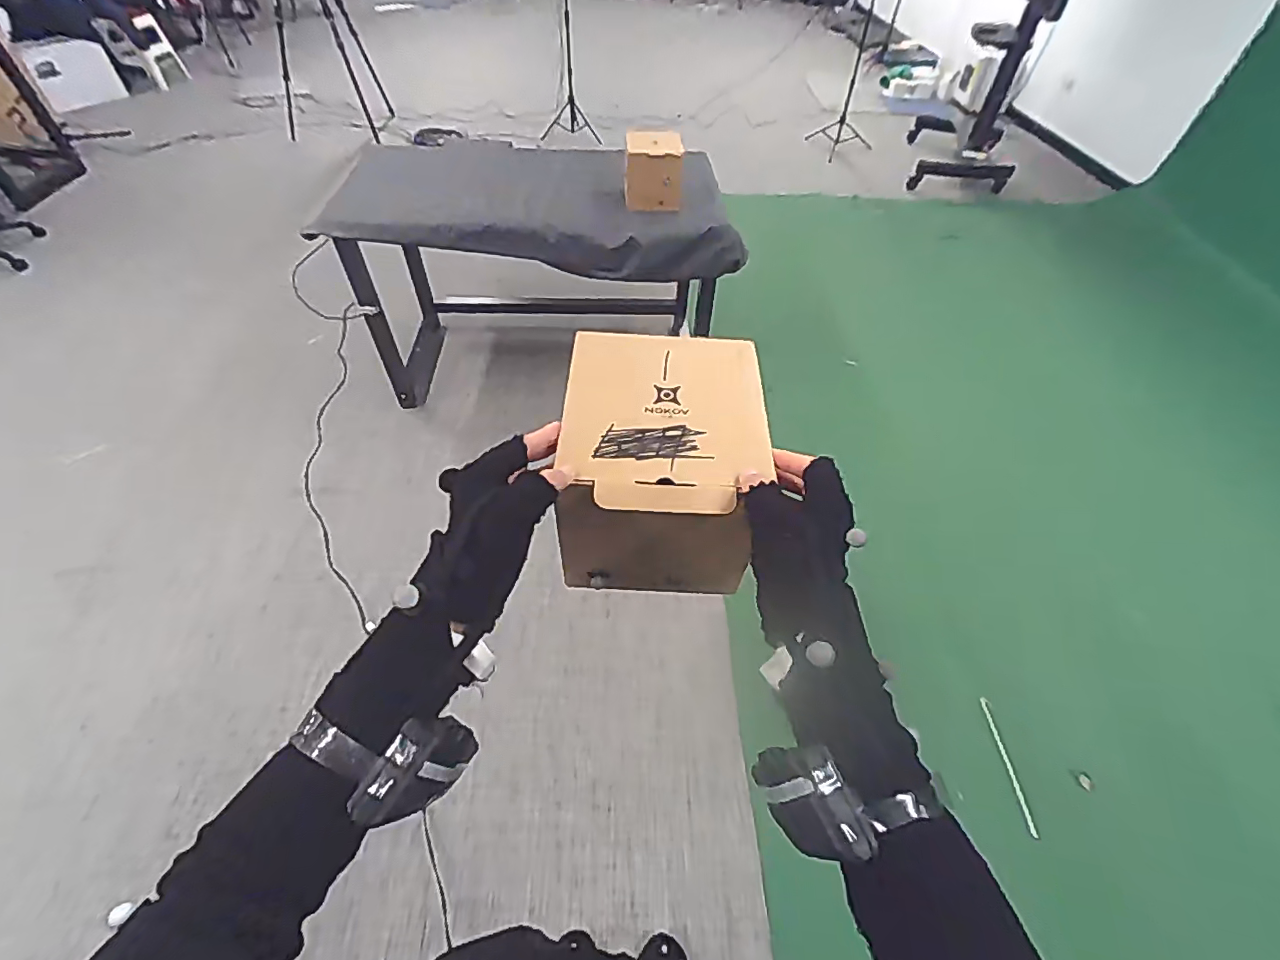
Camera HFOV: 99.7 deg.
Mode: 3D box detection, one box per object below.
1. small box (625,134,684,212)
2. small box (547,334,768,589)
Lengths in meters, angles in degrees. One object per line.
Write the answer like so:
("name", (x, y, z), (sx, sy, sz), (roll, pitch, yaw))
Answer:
("small box", (0.039, -0.941, 1.658), (0.168, 0.176, 0.179), (-1, 48, -5))
("small box", (0.014, -0.012, 0.506), (0.168, 0.176, 0.179), (3, 51, -1))
